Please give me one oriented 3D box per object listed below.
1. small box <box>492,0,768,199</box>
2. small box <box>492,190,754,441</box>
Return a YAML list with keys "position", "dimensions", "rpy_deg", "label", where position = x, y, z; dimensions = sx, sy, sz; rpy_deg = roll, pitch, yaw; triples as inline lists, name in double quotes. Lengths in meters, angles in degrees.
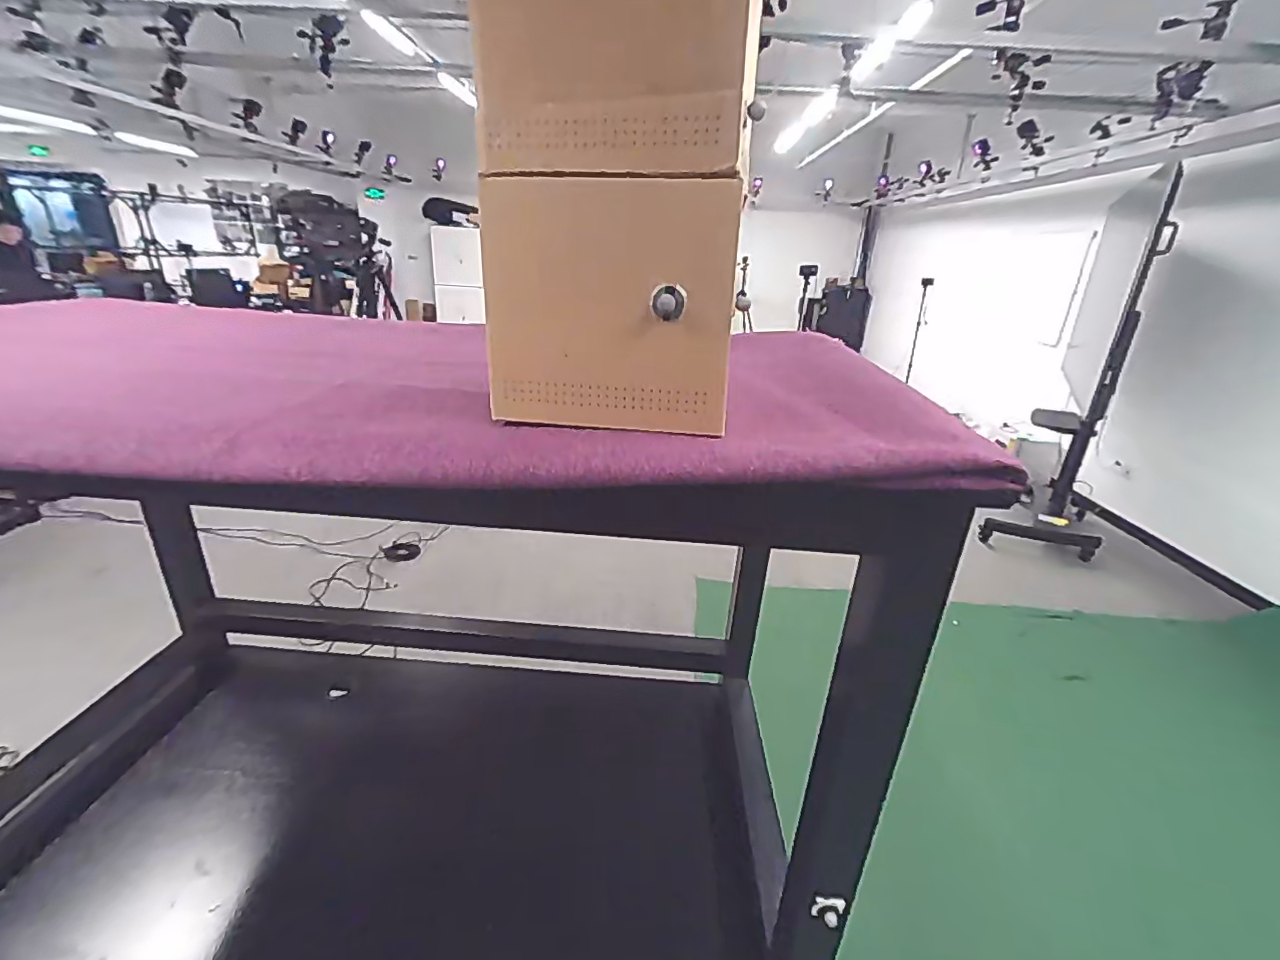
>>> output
- position: [0.000, -0.288, 0.403]
  dimensions: [0.179, 0.176, 0.168]
  rpy_deg: [6, 19, 10]
  label: "small box"
- position: [-0.005, -0.132, 0.450]
  dimensions: [0.179, 0.176, 0.168]
  rpy_deg: [4, 18, 7]
  label: "small box"
